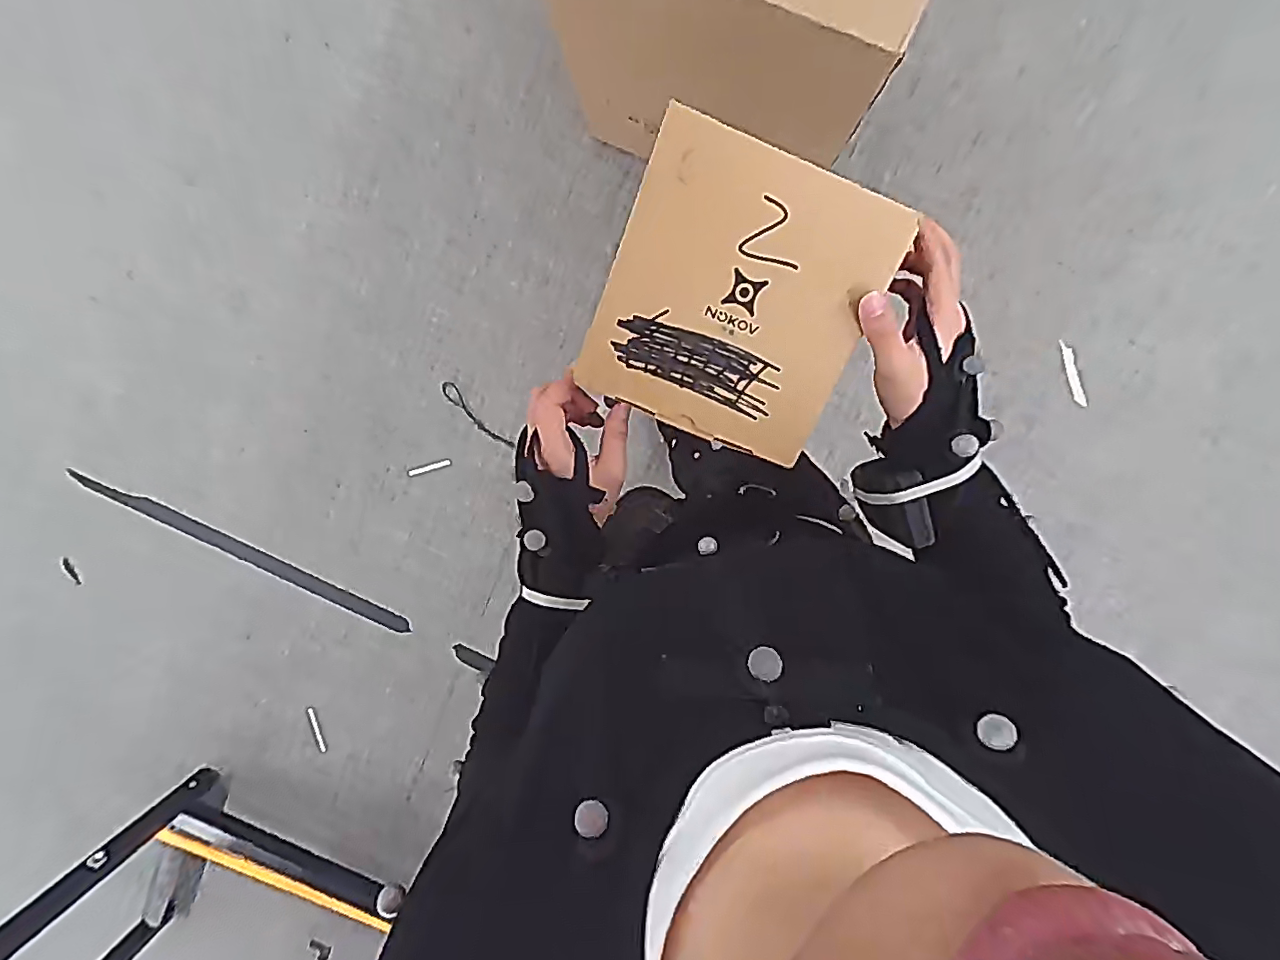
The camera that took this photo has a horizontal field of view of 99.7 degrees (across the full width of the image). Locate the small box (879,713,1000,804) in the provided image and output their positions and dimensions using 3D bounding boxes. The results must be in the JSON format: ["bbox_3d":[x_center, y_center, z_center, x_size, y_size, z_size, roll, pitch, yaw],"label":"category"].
[{"bbox_3d":[0.735,0.717,1.348,0.179,0.176,0.168,24,100,2],"label":"small box"}]

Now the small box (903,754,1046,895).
[{"bbox_3d":[0.720,0.743,1.186,0.179,0.176,0.168,22,99,2],"label":"small box"}]
